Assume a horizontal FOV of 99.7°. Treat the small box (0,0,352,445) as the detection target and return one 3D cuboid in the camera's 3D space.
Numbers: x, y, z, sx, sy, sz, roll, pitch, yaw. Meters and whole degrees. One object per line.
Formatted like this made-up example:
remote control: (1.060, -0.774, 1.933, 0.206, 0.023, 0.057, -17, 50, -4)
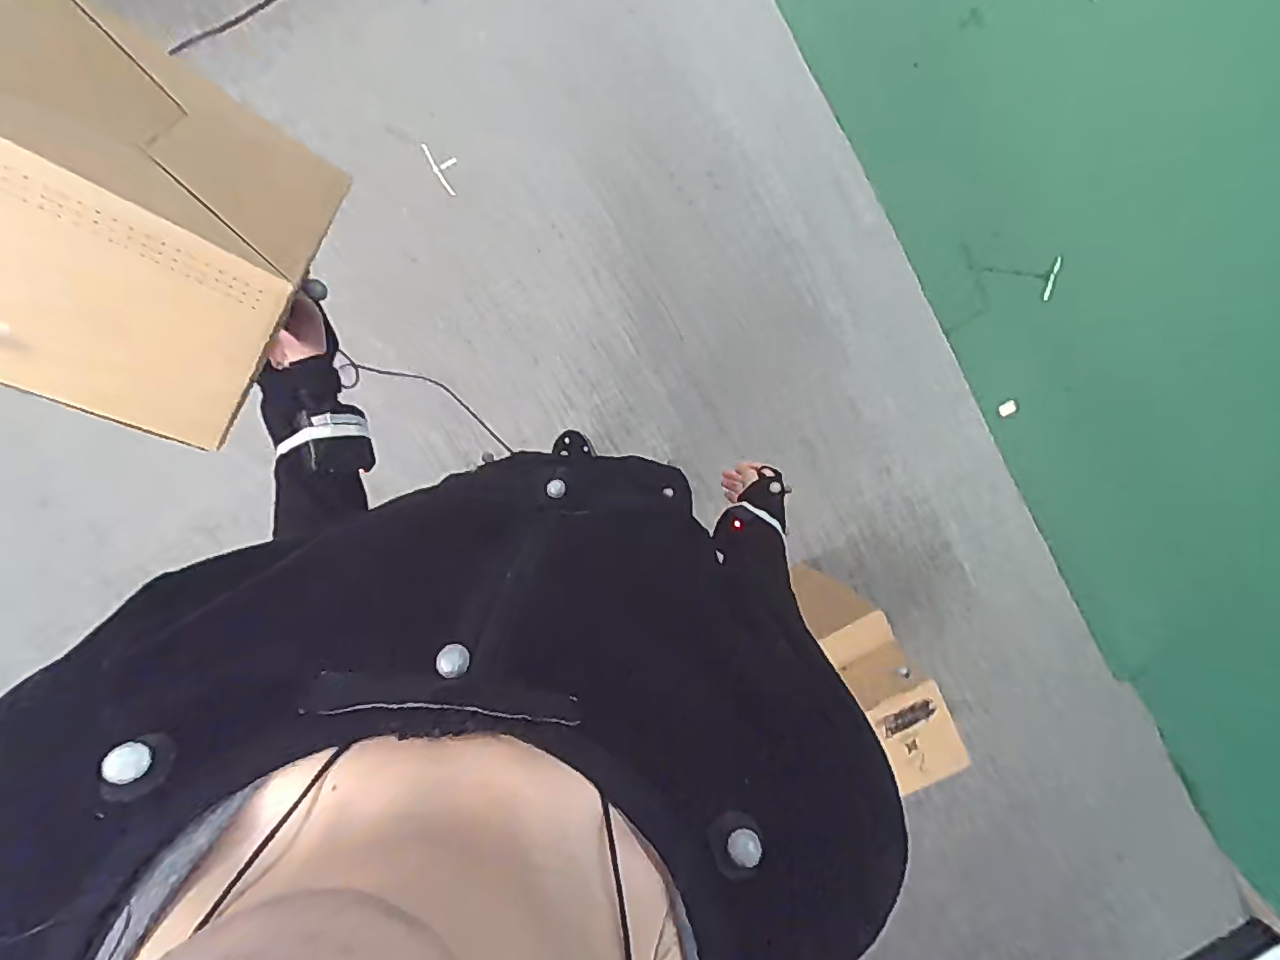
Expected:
small box: (-0.324, -0.160, 0.355, 0.179, 0.168, 0.176, 25, 129, -35)
